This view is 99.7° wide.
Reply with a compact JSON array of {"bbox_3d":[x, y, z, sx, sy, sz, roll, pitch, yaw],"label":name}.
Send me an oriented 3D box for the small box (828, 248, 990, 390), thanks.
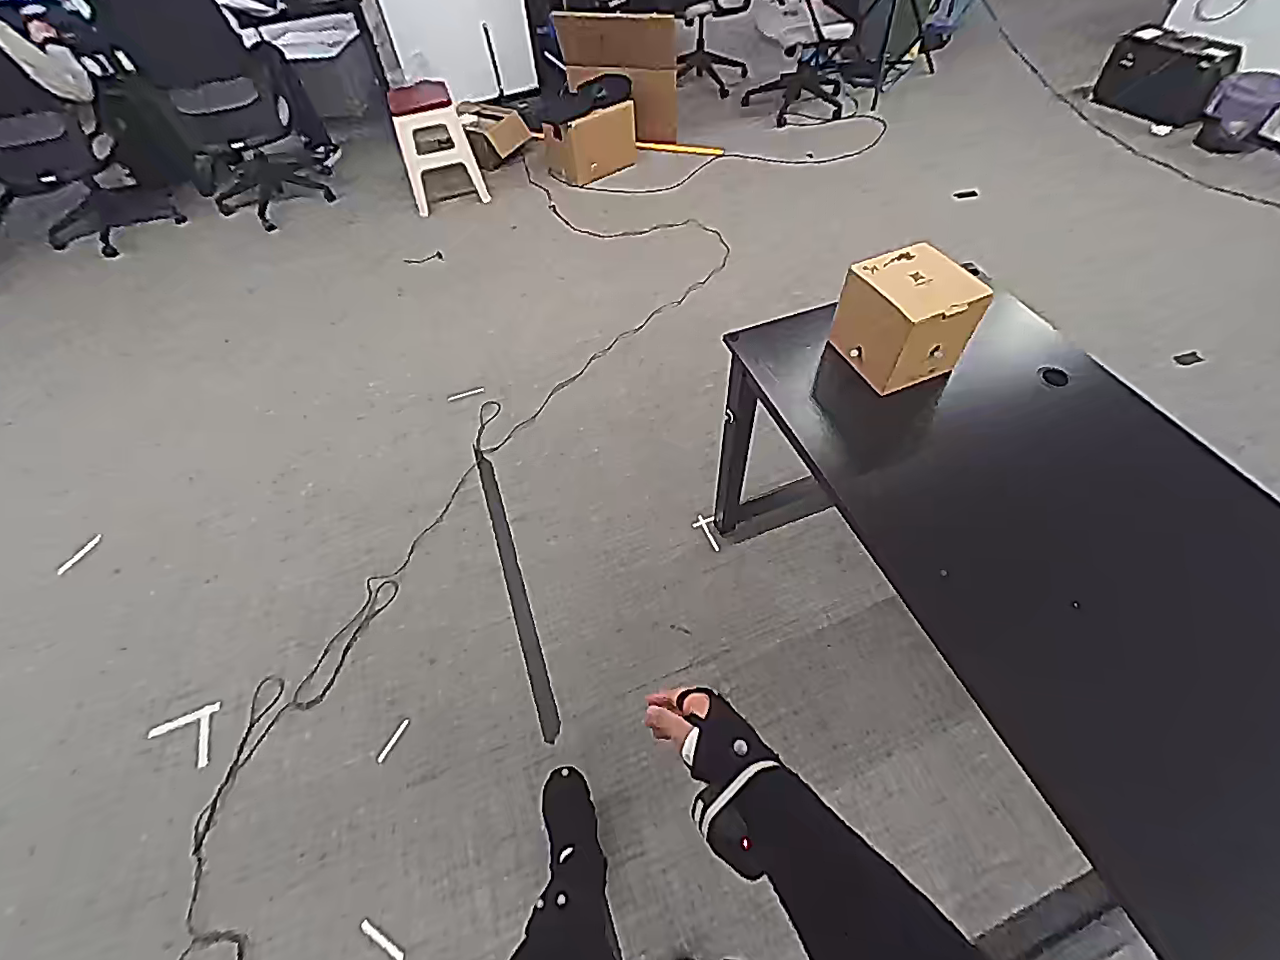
[{"bbox_3d":[0.477,-0.285,0.988,0.168,0.176,0.179,-20,57,-12],"label":"small box"}]
